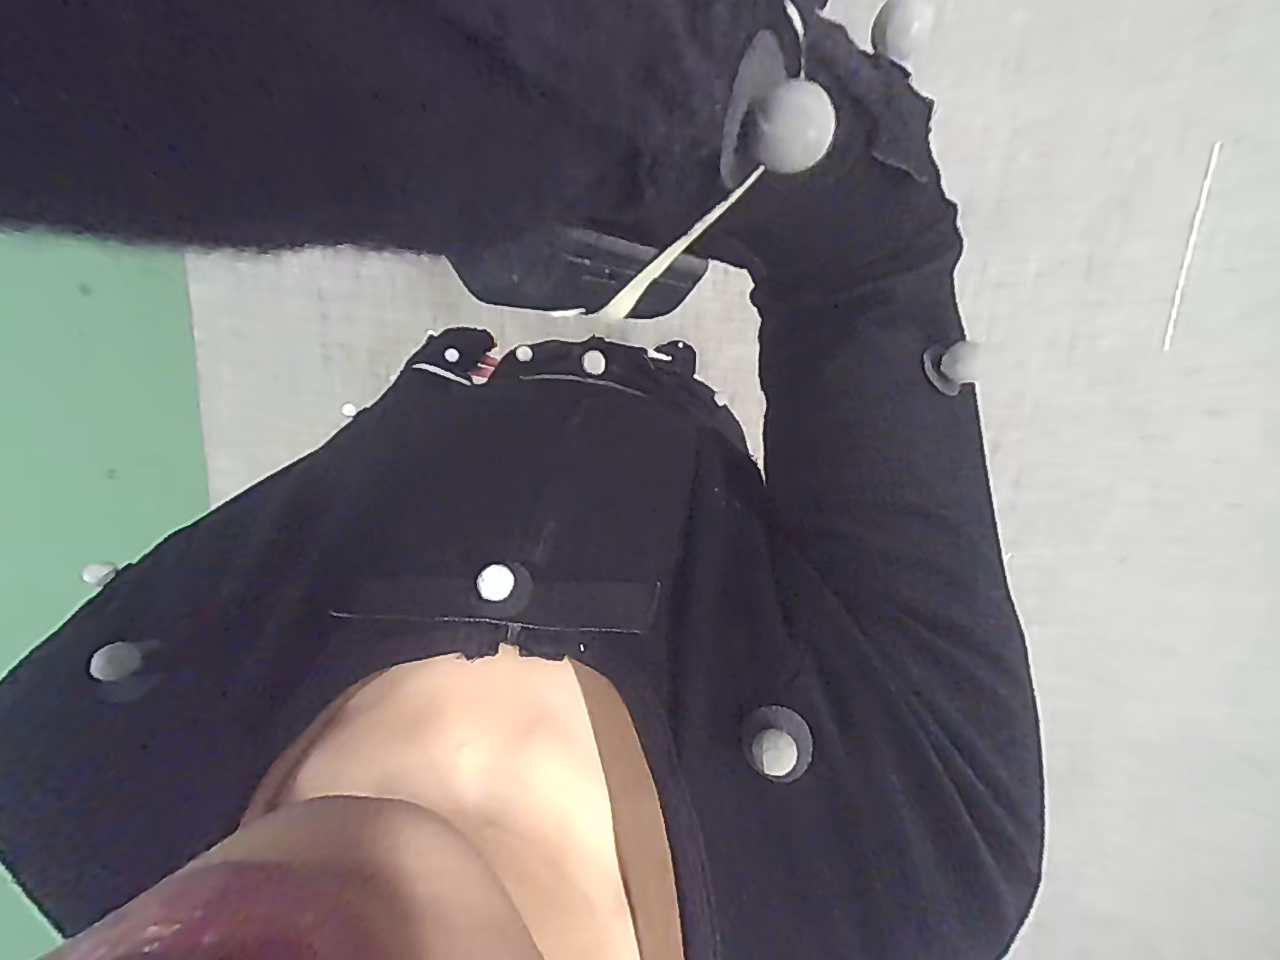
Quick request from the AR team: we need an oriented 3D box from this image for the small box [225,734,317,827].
[{"bbox_3d":[-1.100,0.895,1.624,0.168,0.176,0.179,6,103,0],"label":"small box"}]
